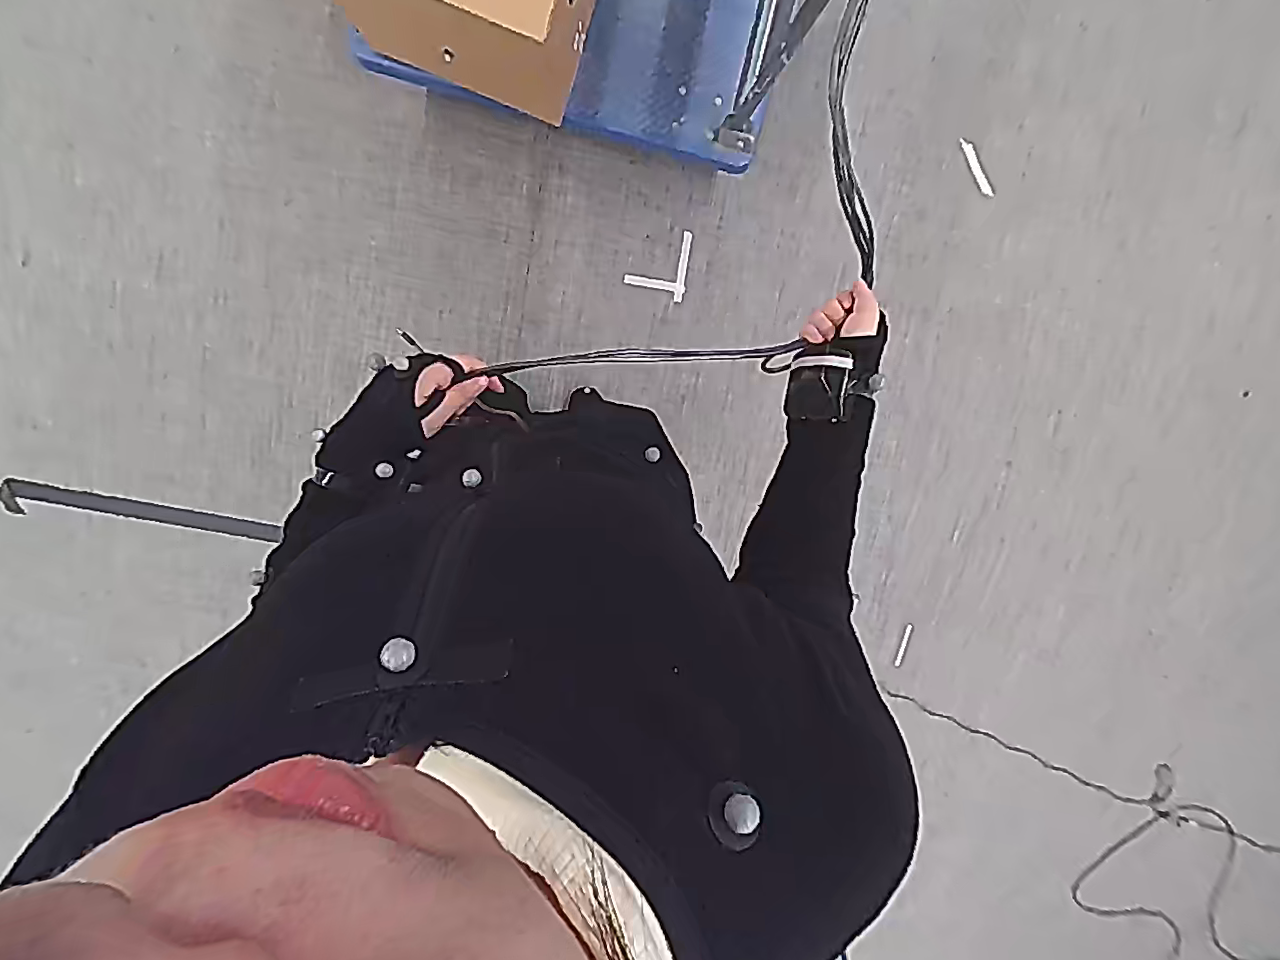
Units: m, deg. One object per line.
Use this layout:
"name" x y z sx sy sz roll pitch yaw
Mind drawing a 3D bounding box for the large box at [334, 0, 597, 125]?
"large box" -0.296 -0.914 0.953 0.408 0.320 0.320 18 99 -6
